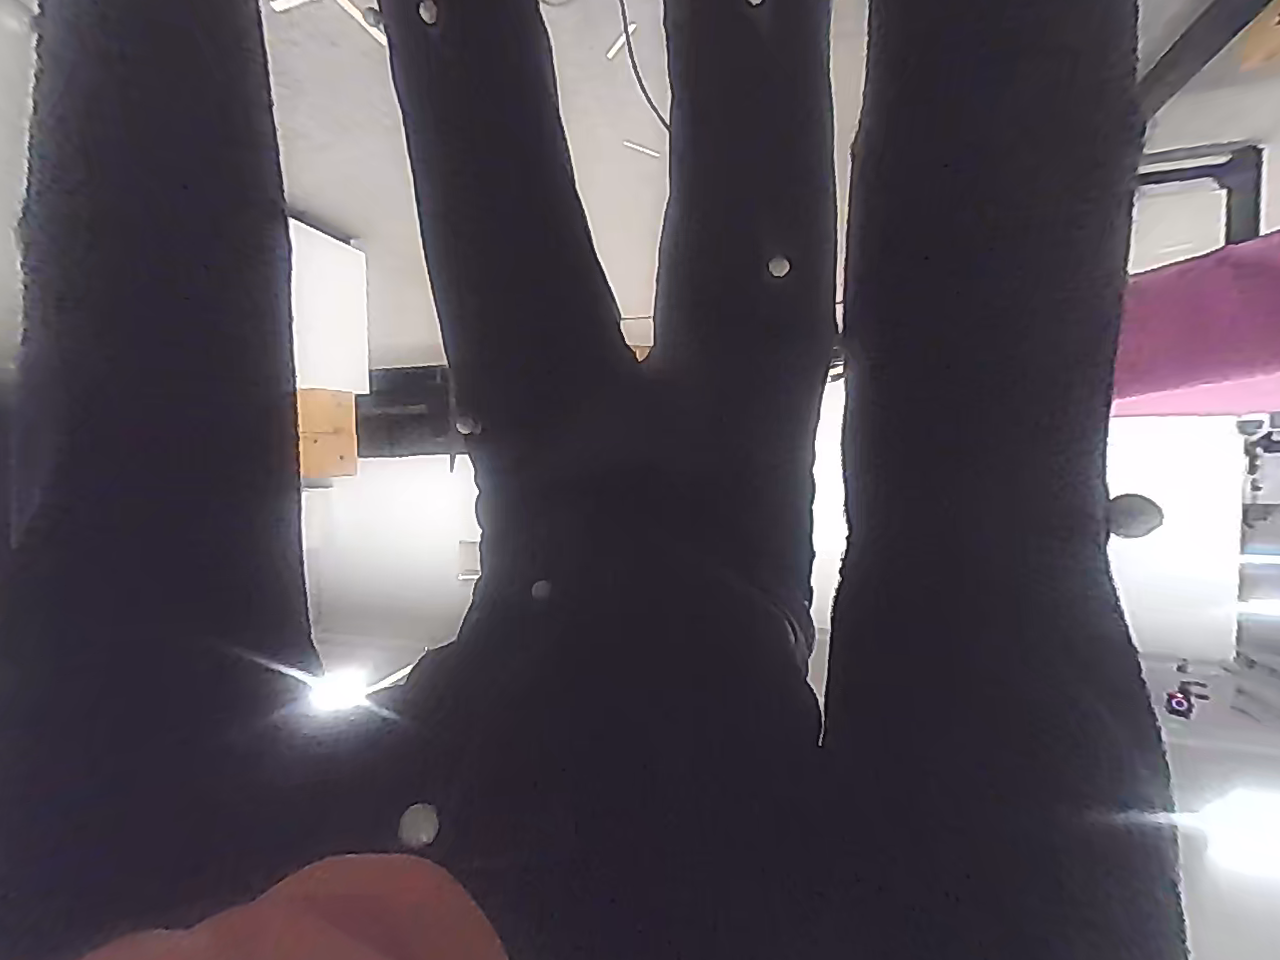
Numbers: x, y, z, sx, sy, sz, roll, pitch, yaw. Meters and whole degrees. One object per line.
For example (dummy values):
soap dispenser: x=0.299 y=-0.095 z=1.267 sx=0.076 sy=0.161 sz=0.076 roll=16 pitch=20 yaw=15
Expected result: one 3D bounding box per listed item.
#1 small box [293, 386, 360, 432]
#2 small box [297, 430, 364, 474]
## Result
small box: x=-1.230 y=-0.277 z=2.128 sx=0.179 sy=0.176 sz=0.168 roll=1 pitch=-176 yaw=16
small box: x=-1.225 y=-0.112 z=2.137 sx=0.168 sy=0.176 sz=0.179 roll=2 pitch=-176 yaw=15
